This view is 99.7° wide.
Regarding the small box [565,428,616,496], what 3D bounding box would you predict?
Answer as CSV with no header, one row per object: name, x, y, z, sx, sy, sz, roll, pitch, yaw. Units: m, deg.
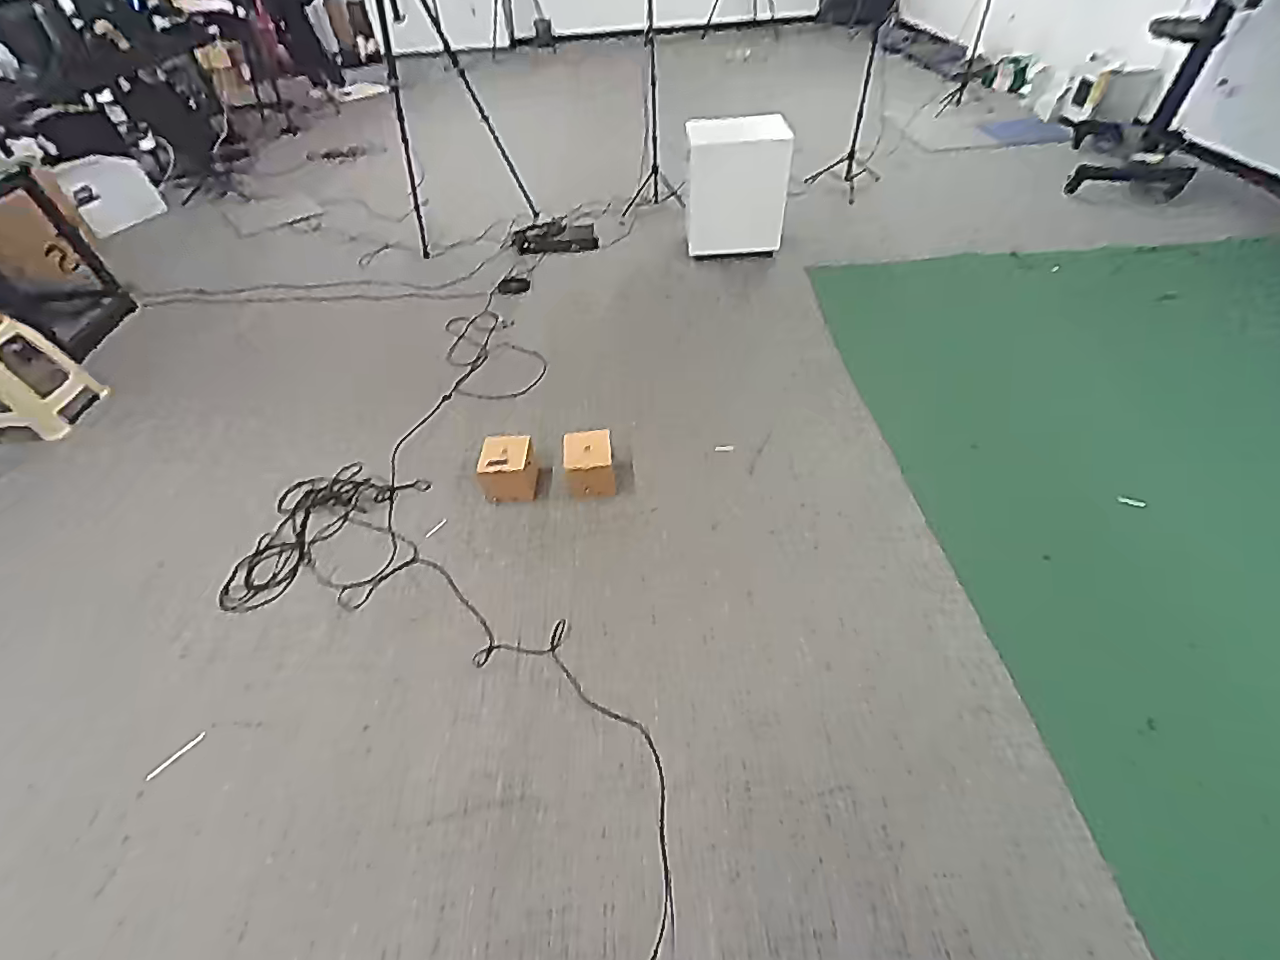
small box,-0.176,-0.064,1.952,0.168,0.176,0.179,-6,49,-1

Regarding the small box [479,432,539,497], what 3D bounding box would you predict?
small box,-0.467,-0.051,1.957,0.168,0.176,0.179,-2,47,2
